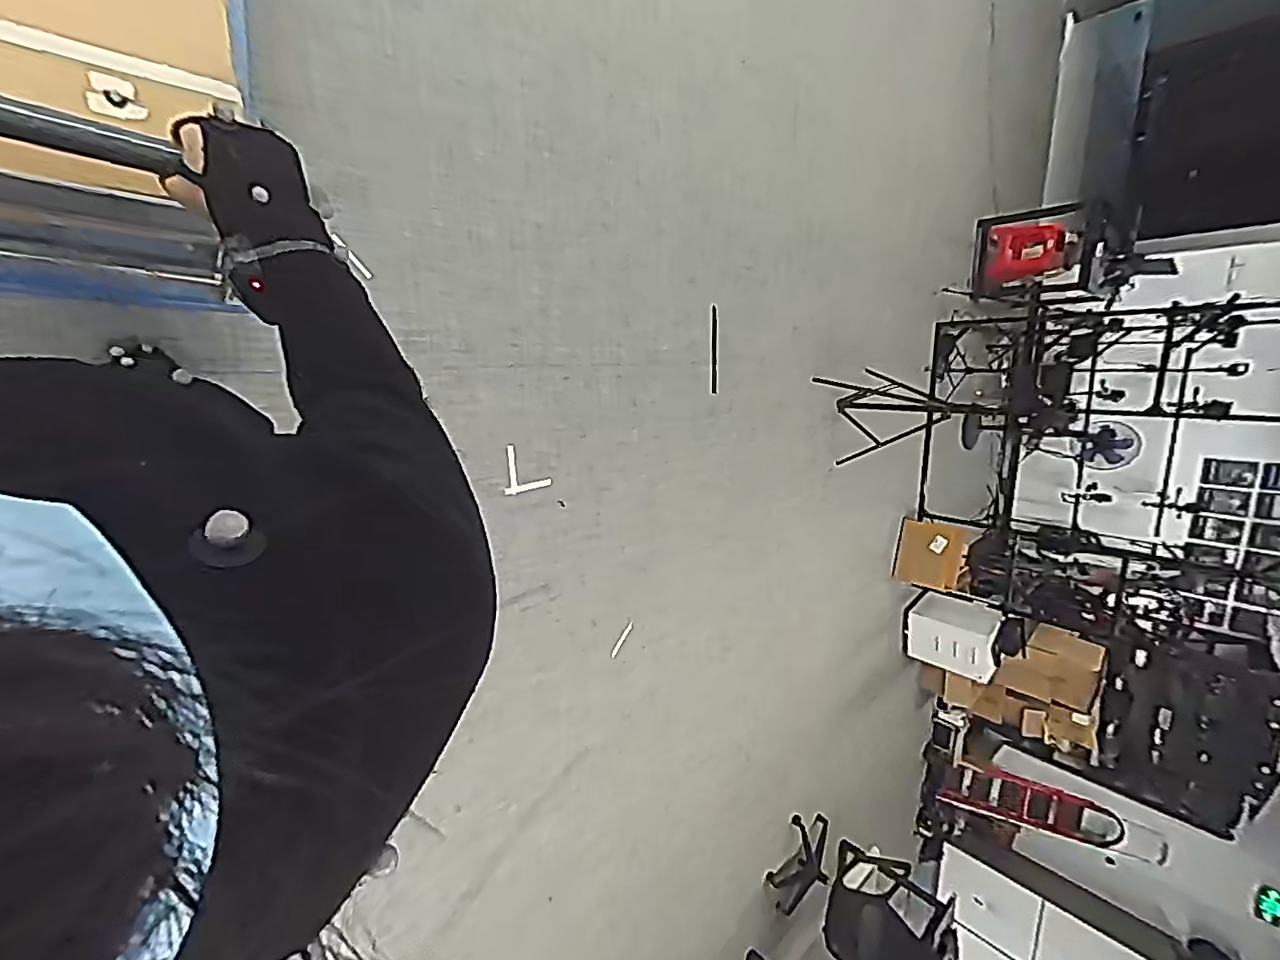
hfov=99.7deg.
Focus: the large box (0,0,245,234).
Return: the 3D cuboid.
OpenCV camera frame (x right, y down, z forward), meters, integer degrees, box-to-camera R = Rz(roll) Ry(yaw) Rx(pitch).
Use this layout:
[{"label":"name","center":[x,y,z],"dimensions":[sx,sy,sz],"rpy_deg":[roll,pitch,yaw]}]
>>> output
[{"label":"large box","center":[-0.845,-0.564,0.757],"dimensions":[0.408,0.320,0.320],"rpy_deg":[-11,107,-44]}]
